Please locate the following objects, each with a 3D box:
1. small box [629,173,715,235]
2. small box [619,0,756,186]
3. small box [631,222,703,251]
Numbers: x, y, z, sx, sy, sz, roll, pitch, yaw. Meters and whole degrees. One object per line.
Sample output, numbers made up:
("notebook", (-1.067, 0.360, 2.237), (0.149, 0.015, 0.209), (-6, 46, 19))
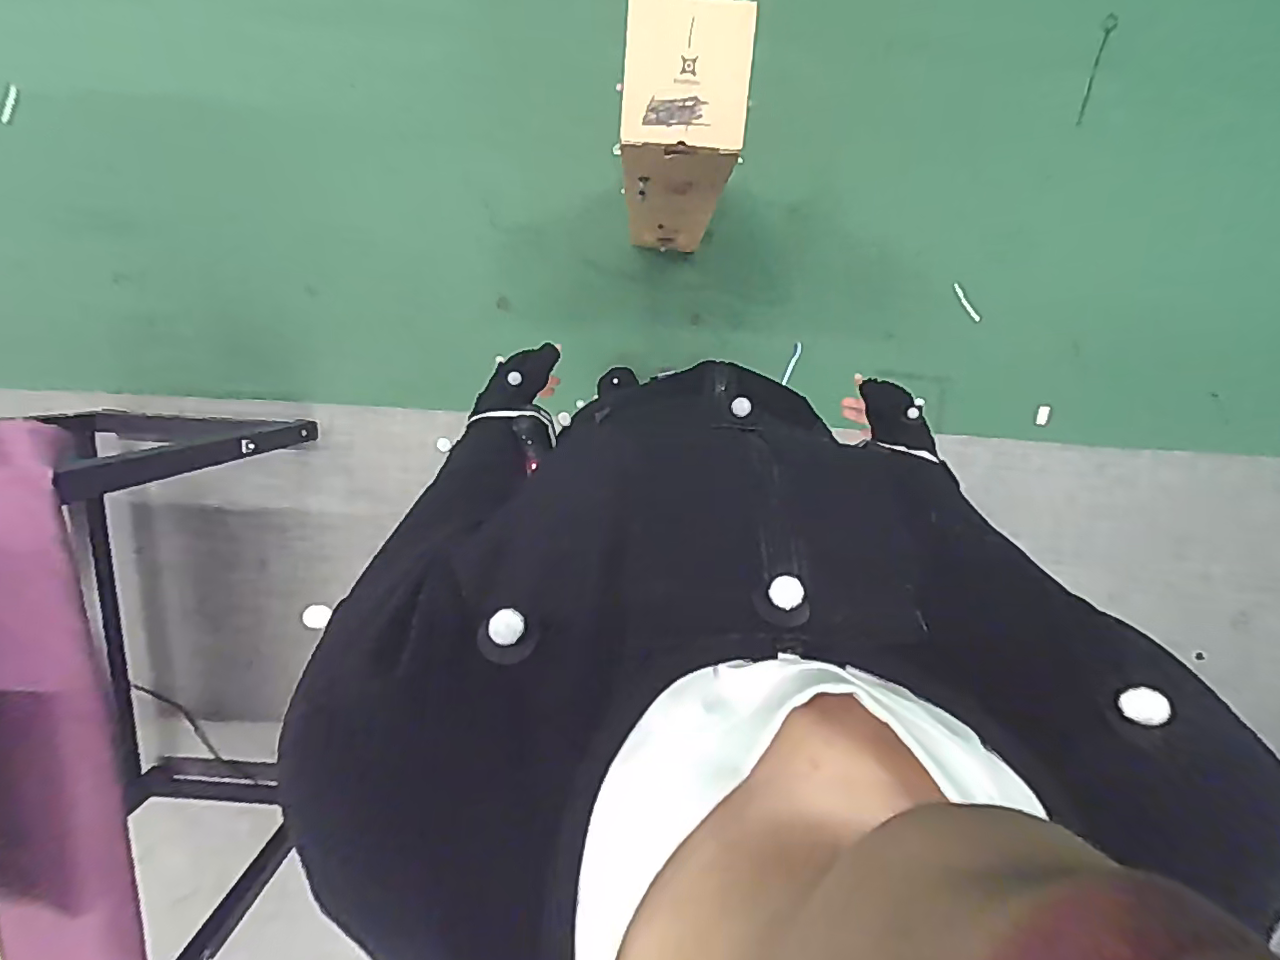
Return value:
("small box", (0.064, -0.617, 1.103), (0.168, 0.176, 0.179), (4, 103, -1))
("small box", (0.061, -0.546, 0.782), (0.168, 0.176, 0.179), (4, 101, -1))
("small box", (0.068, -0.650, 1.262), (0.168, 0.176, 0.179), (5, 102, 0))
